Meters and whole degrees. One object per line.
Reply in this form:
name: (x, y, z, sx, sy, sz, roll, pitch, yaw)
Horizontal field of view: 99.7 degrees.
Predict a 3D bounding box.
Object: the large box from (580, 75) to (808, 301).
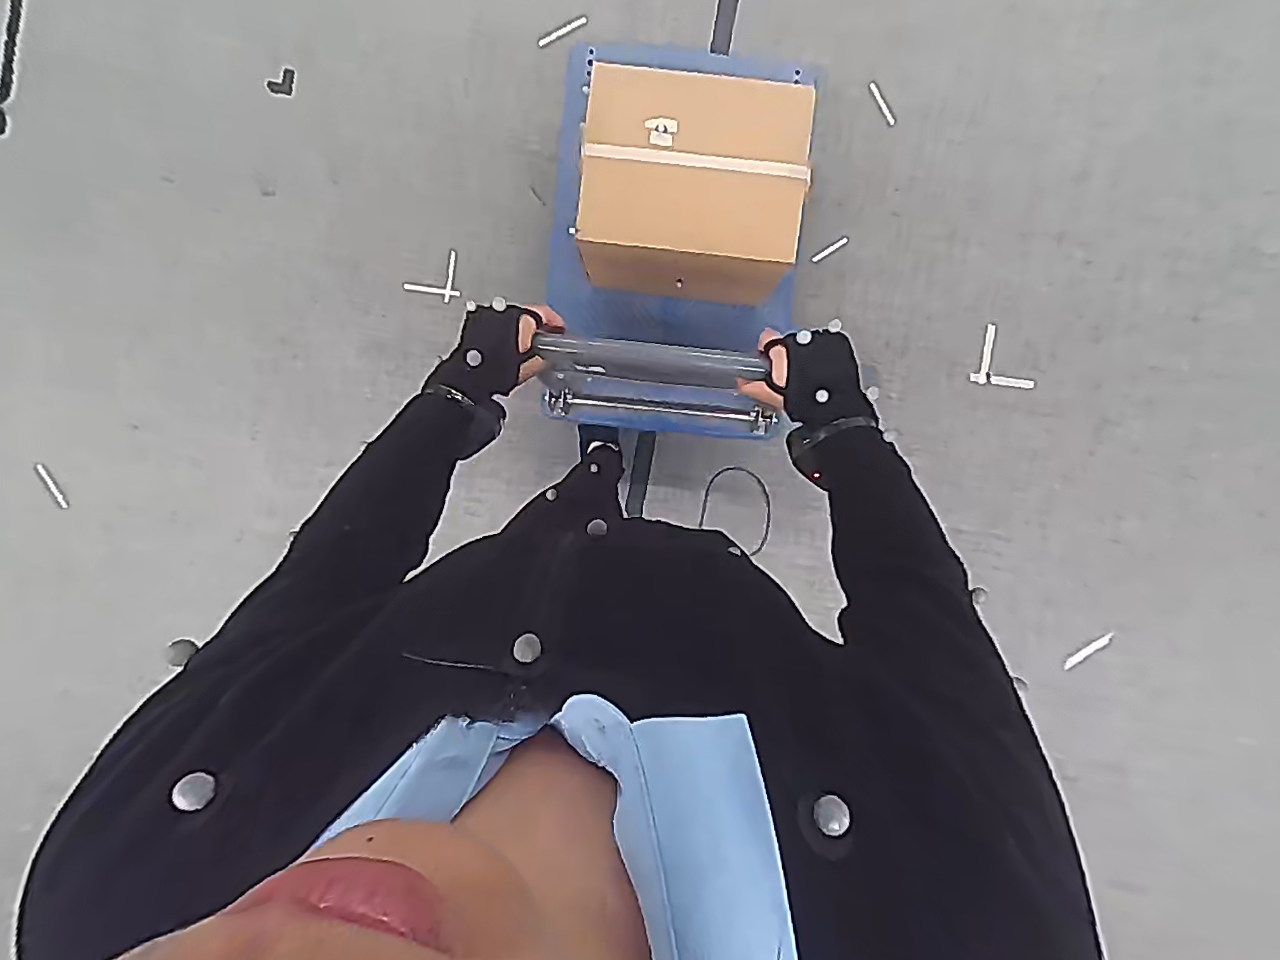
large box: (0.104, -0.584, 1.143, 0.408, 0.320, 0.320, 6, 92, 1)
